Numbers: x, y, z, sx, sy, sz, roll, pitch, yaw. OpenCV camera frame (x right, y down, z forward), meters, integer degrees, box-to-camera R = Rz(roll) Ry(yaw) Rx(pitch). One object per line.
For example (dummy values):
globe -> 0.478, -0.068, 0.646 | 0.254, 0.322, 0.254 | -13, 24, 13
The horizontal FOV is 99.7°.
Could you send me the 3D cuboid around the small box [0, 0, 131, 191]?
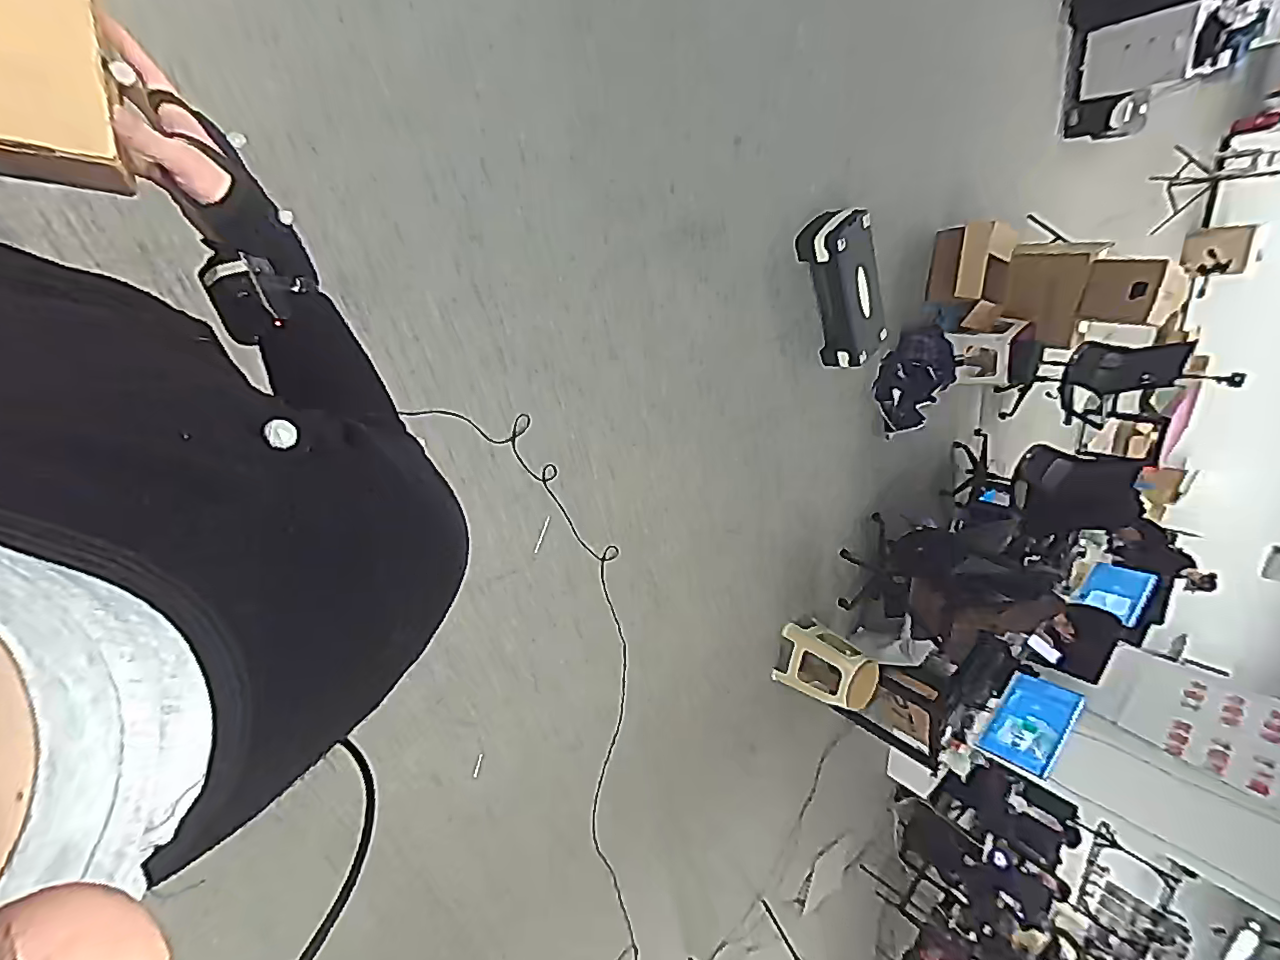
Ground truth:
small box -> -0.448, -0.298, 0.340 | 0.168, 0.176, 0.179 | -9, 111, -39
